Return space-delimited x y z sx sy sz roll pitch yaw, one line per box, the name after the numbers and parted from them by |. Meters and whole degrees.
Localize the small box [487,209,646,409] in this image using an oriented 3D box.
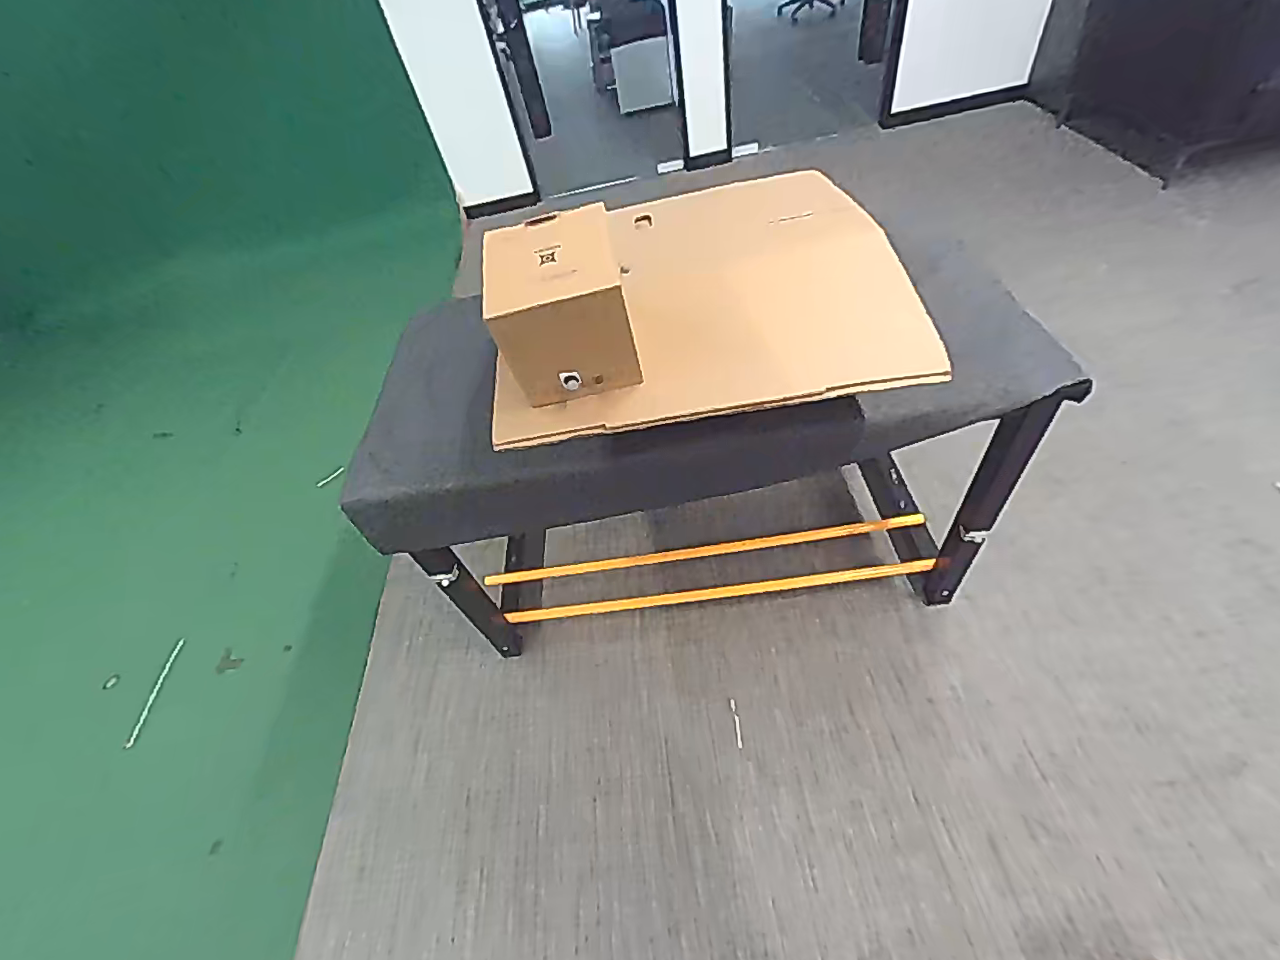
-0.096 -0.226 0.733 0.168 0.176 0.179 -14 57 4 | small box
